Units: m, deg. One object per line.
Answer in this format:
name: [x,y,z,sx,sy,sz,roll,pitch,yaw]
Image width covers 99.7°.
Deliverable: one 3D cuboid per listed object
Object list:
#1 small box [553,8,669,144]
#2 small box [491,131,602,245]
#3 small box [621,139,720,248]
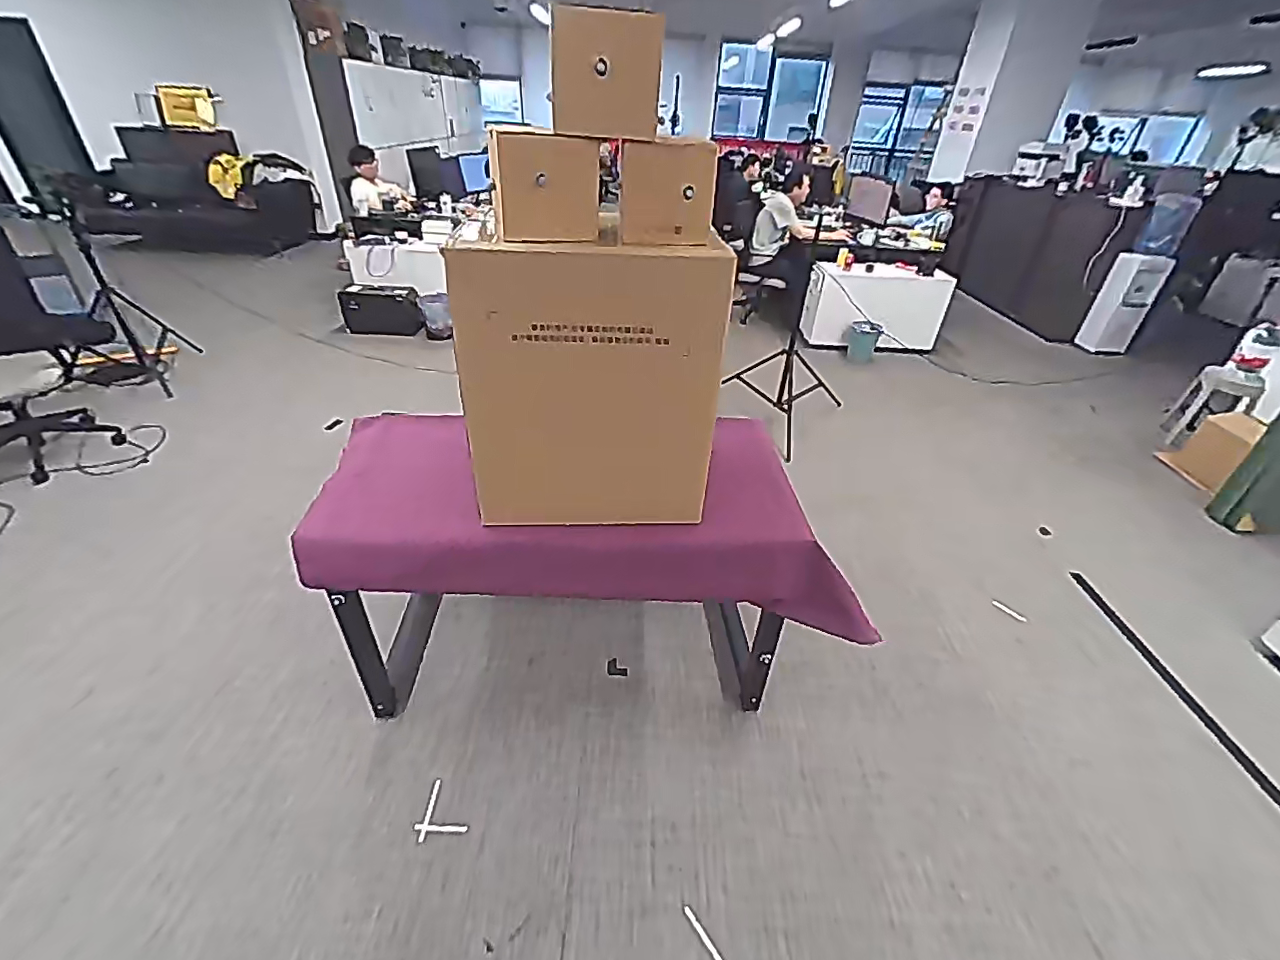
small box: [-0.049,-0.676,0.919,0.179,0.176,0.168,2,35,-3]
small box: [-0.173,-0.540,1.002,0.179,0.176,0.168,-7,36,-17]
small box: [0.049,-0.547,1.031,0.168,0.176,0.179,0,34,-6]
